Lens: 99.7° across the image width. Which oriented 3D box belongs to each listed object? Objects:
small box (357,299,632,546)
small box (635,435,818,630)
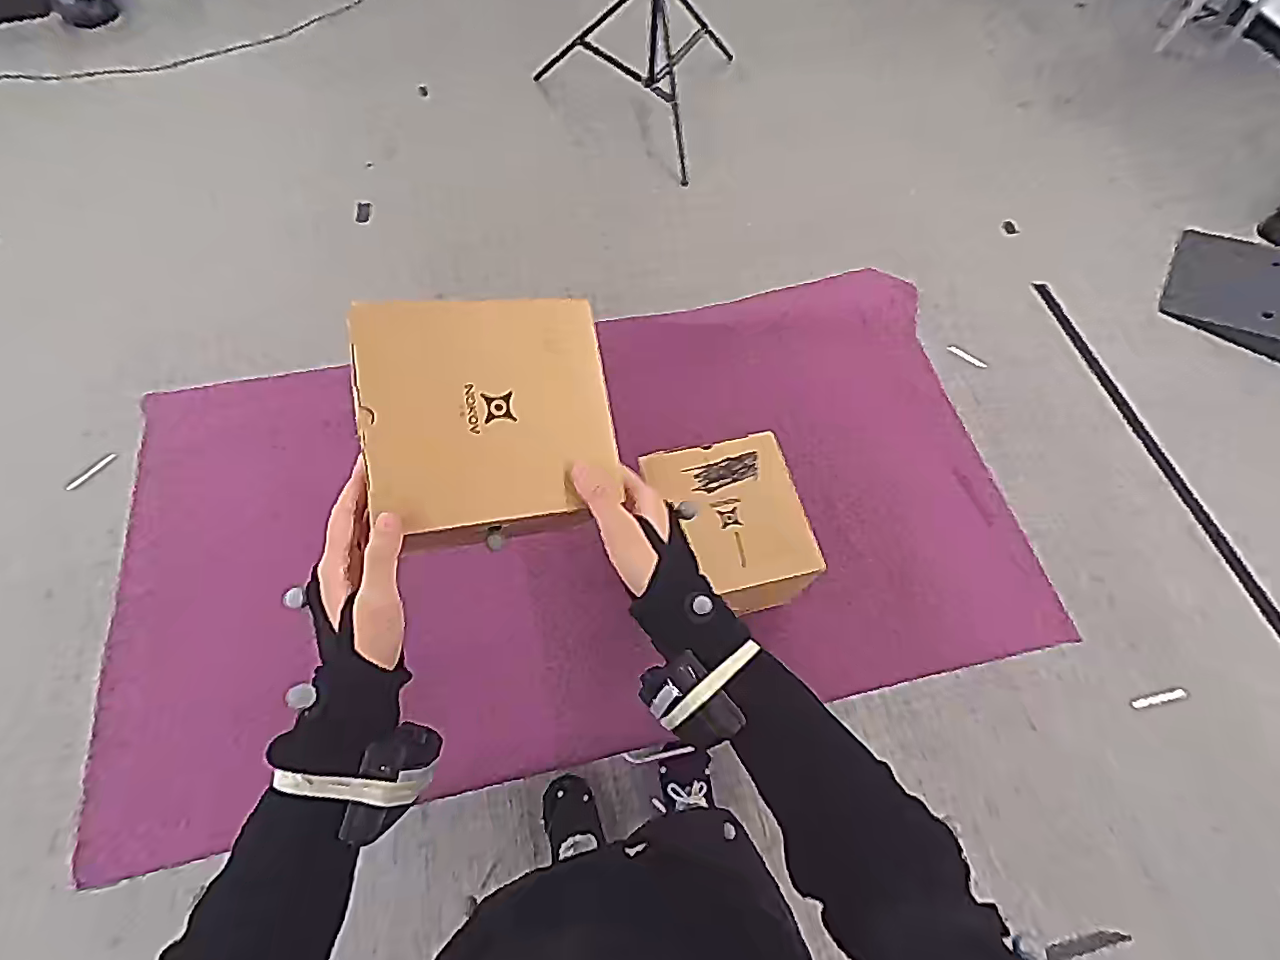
[{"bbox_3d":[-0.123,-0.039,0.459,0.179,0.176,0.168,-8,83,-19],"label":"small box"},{"bbox_3d":[0.090,0.071,0.672,0.168,0.176,0.179,-12,66,-7],"label":"small box"}]
